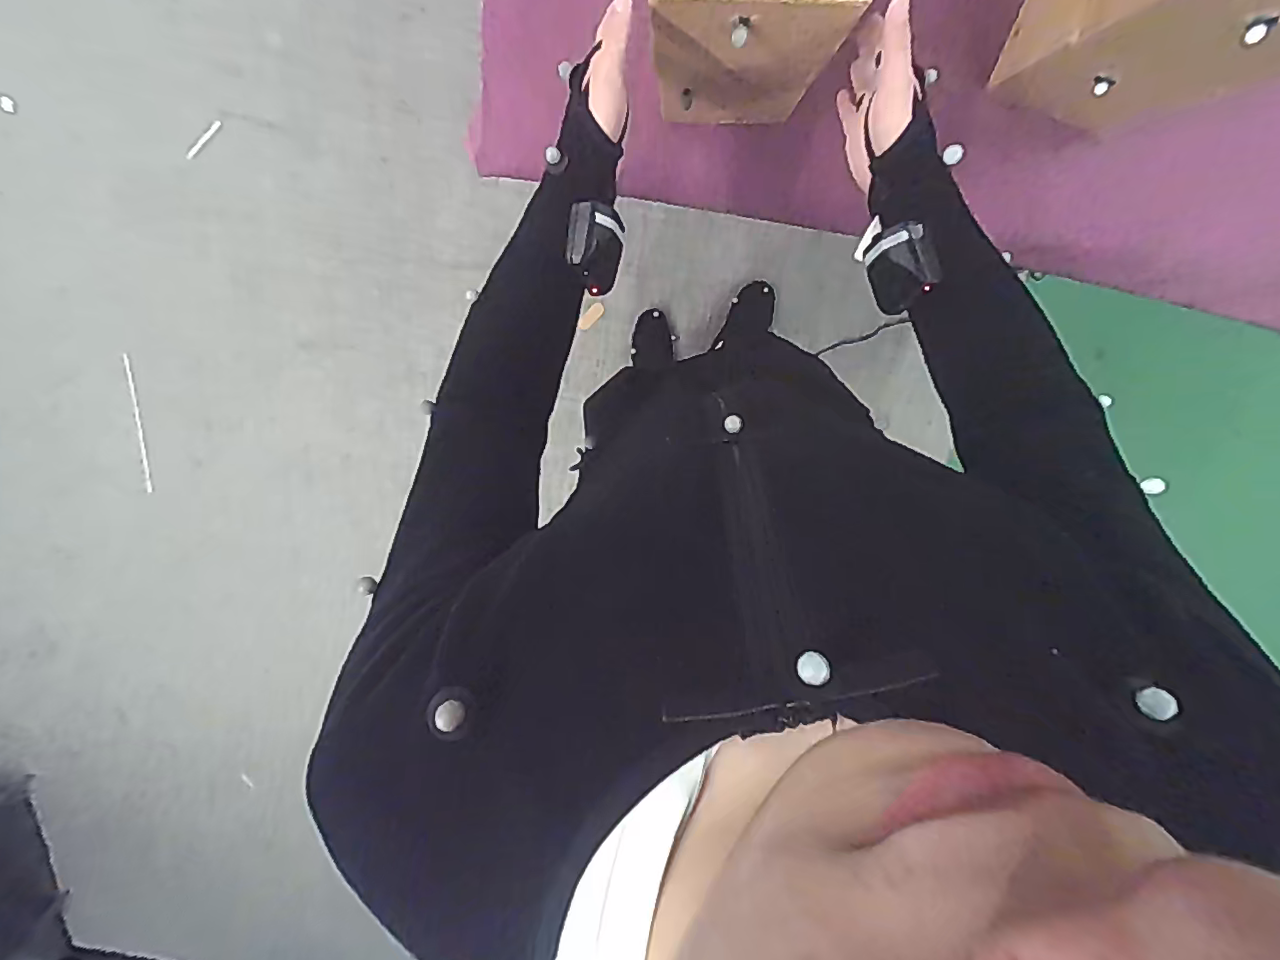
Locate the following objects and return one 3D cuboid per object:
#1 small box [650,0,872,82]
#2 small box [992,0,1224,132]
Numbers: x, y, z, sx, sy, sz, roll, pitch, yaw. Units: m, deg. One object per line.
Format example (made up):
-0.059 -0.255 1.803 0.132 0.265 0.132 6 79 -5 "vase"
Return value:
0.103 -0.474 0.472 0.179 0.176 0.168 4 110 3 "small box"
0.547 -0.518 0.603 0.179 0.176 0.168 17 111 -4 "small box"
